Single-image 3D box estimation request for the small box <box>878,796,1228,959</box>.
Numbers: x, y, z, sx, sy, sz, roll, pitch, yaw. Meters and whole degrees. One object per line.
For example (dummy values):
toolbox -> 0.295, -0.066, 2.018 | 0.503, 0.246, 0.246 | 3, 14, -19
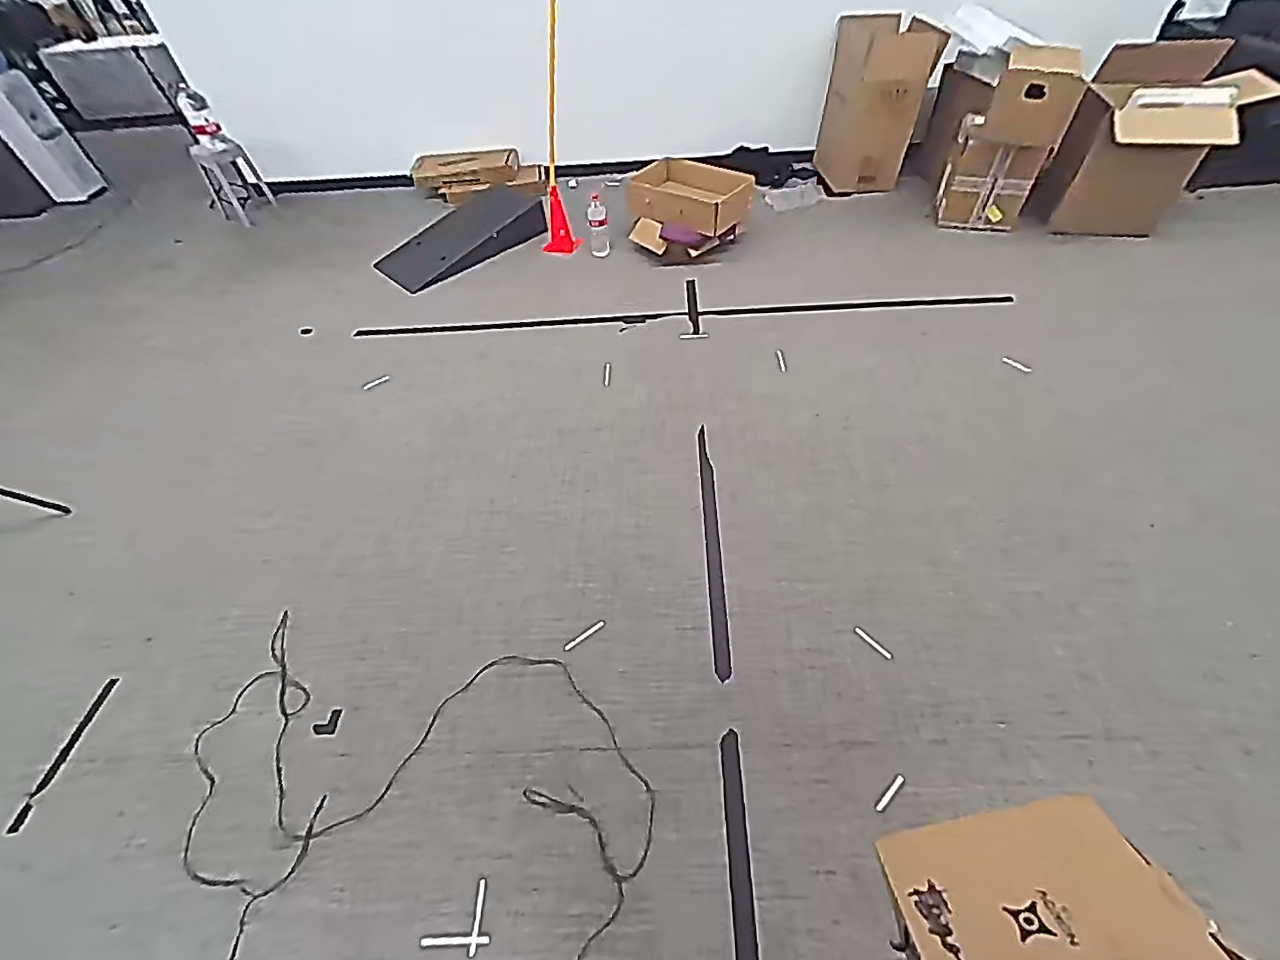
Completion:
small box -> 0.307, 0.382, 0.402 | 0.179, 0.176, 0.168 | -17, 15, 7
